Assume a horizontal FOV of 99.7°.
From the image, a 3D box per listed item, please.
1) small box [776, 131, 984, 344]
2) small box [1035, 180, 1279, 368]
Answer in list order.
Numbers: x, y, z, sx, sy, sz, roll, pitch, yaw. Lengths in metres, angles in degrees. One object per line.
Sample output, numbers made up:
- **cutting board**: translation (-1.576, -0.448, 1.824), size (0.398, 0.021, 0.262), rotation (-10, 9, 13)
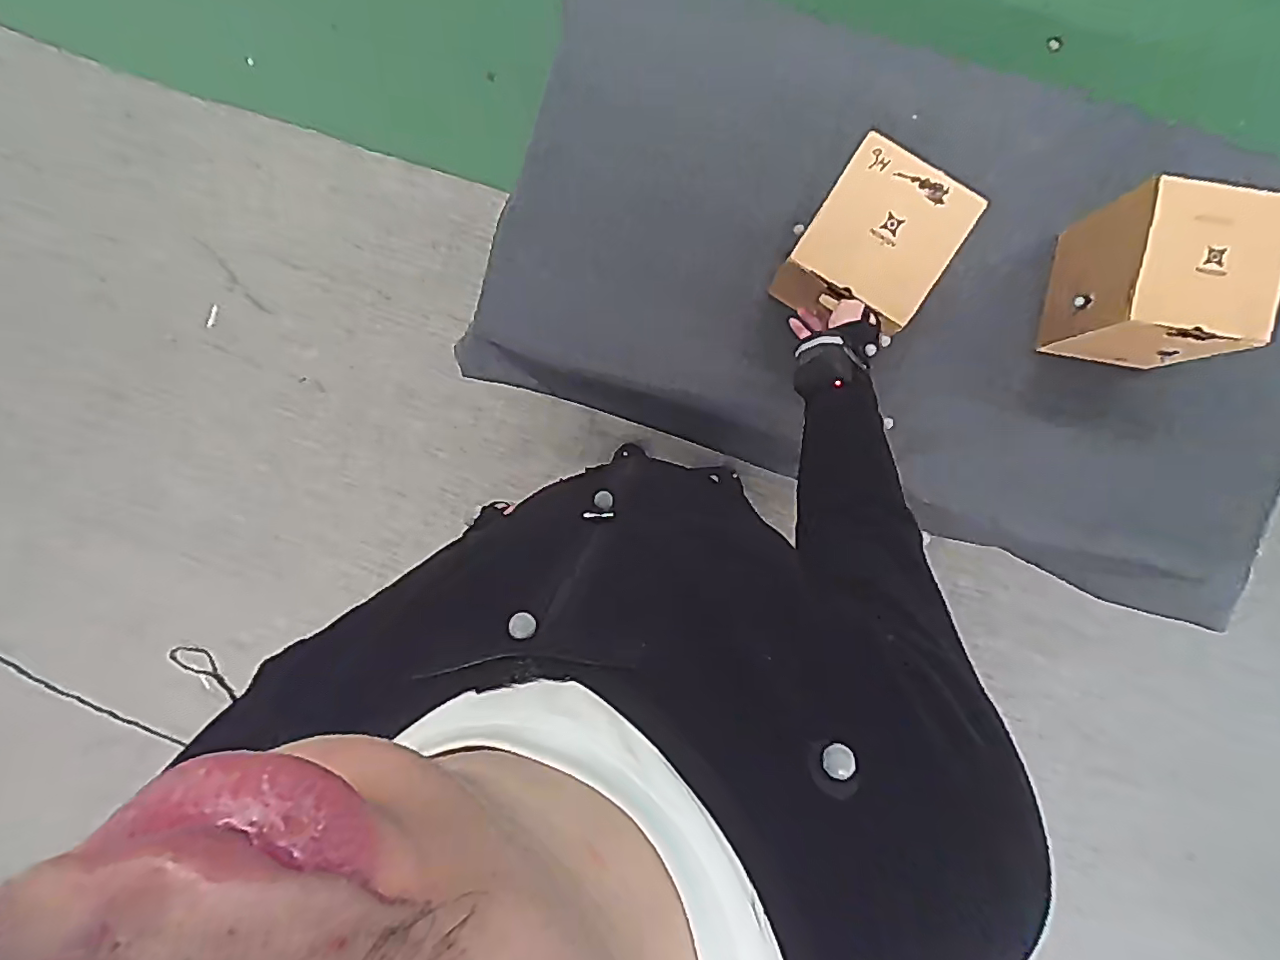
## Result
- **small box**: translation (0.301, -0.305, 0.726), size (0.168, 0.176, 0.179), rotation (33, 97, 0)
- **small box**: translation (0.672, -0.257, 0.718), size (0.168, 0.176, 0.179), rotation (11, 91, 1)
